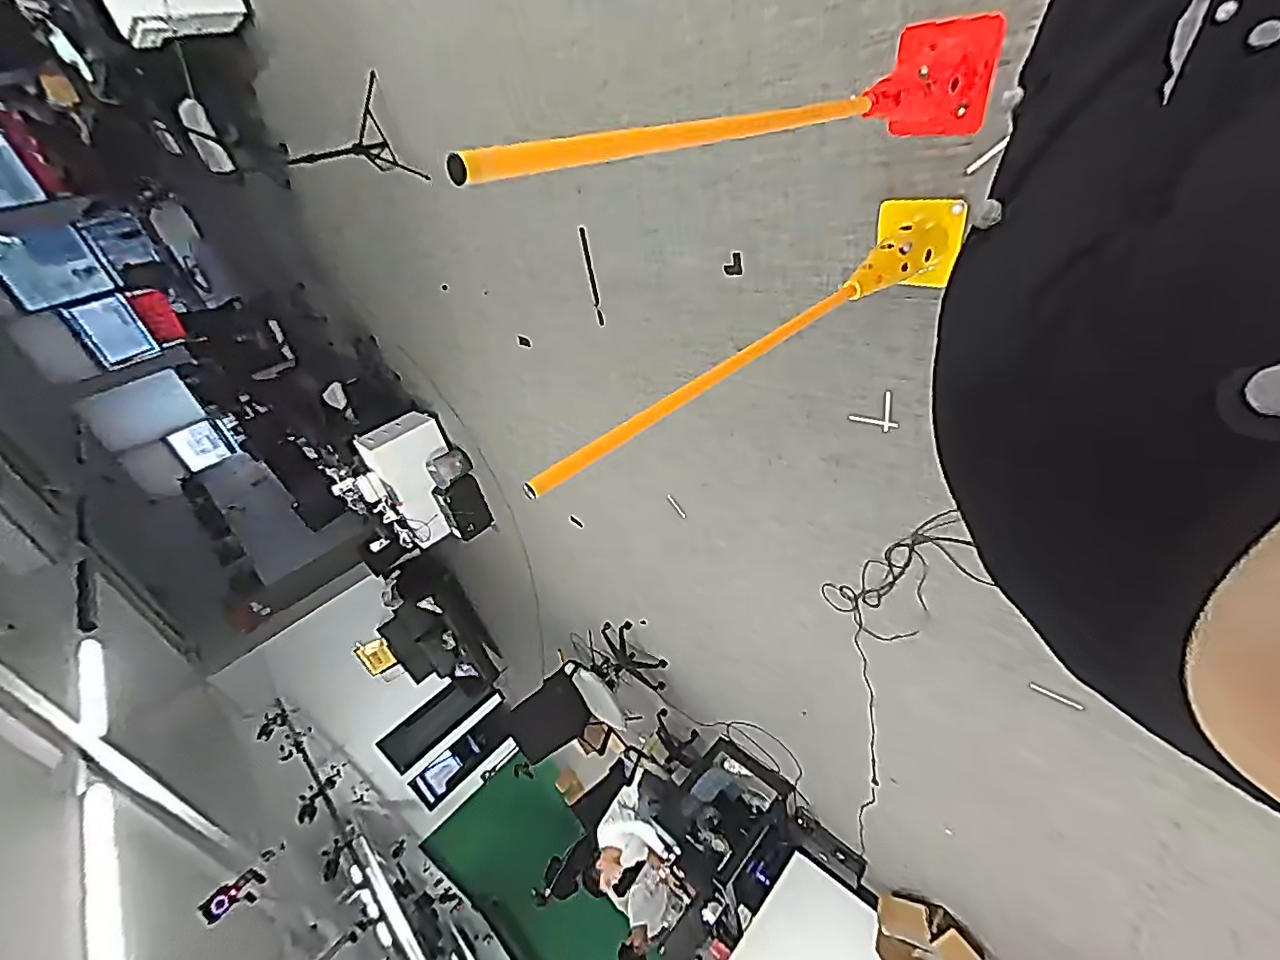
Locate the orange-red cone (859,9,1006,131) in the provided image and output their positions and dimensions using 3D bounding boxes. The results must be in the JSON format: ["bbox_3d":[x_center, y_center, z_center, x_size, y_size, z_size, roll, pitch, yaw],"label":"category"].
[{"bbox_3d":[0.518,-0.765,1.042,0.198,0.360,0.199,27,139,35],"label":"orange-red cone"}]
